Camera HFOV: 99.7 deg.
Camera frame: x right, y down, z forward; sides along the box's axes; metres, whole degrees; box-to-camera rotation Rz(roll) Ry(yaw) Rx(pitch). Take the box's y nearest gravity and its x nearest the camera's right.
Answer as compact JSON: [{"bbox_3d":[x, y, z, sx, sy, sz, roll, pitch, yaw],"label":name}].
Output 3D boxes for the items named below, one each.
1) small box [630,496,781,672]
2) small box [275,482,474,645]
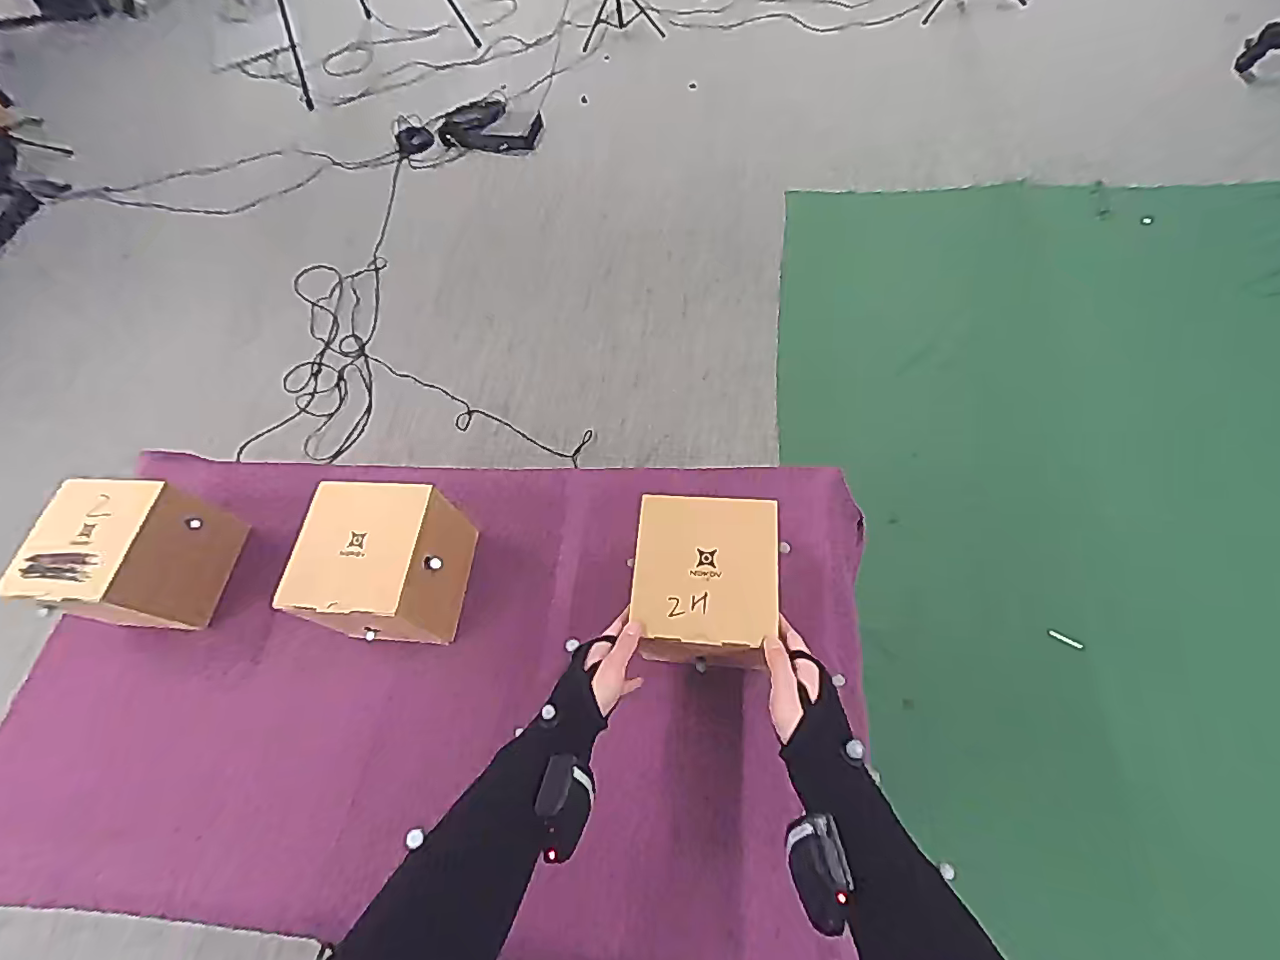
[{"bbox_3d":[0.087,0.137,0.691,0.168,0.176,0.179,2,64,9],"label":"small box"},{"bbox_3d":[-0.350,0.120,0.755,0.168,0.176,0.179,2,63,7],"label":"small box"}]
